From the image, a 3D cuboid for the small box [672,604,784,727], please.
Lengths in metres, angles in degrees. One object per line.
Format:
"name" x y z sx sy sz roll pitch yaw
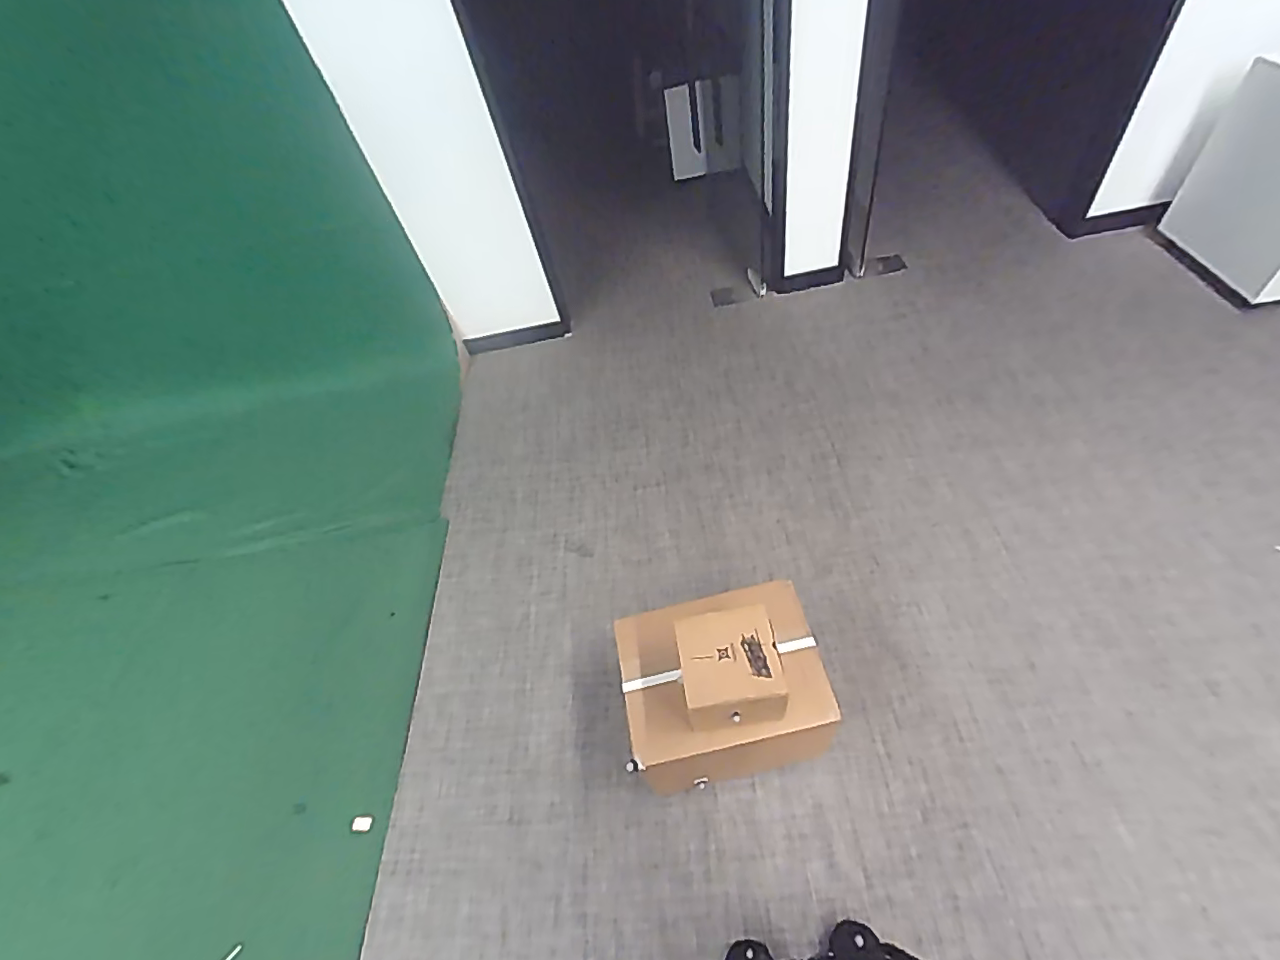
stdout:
"small box" 0.166 0.358 1.033 0.179 0.176 0.168 -11 51 5
